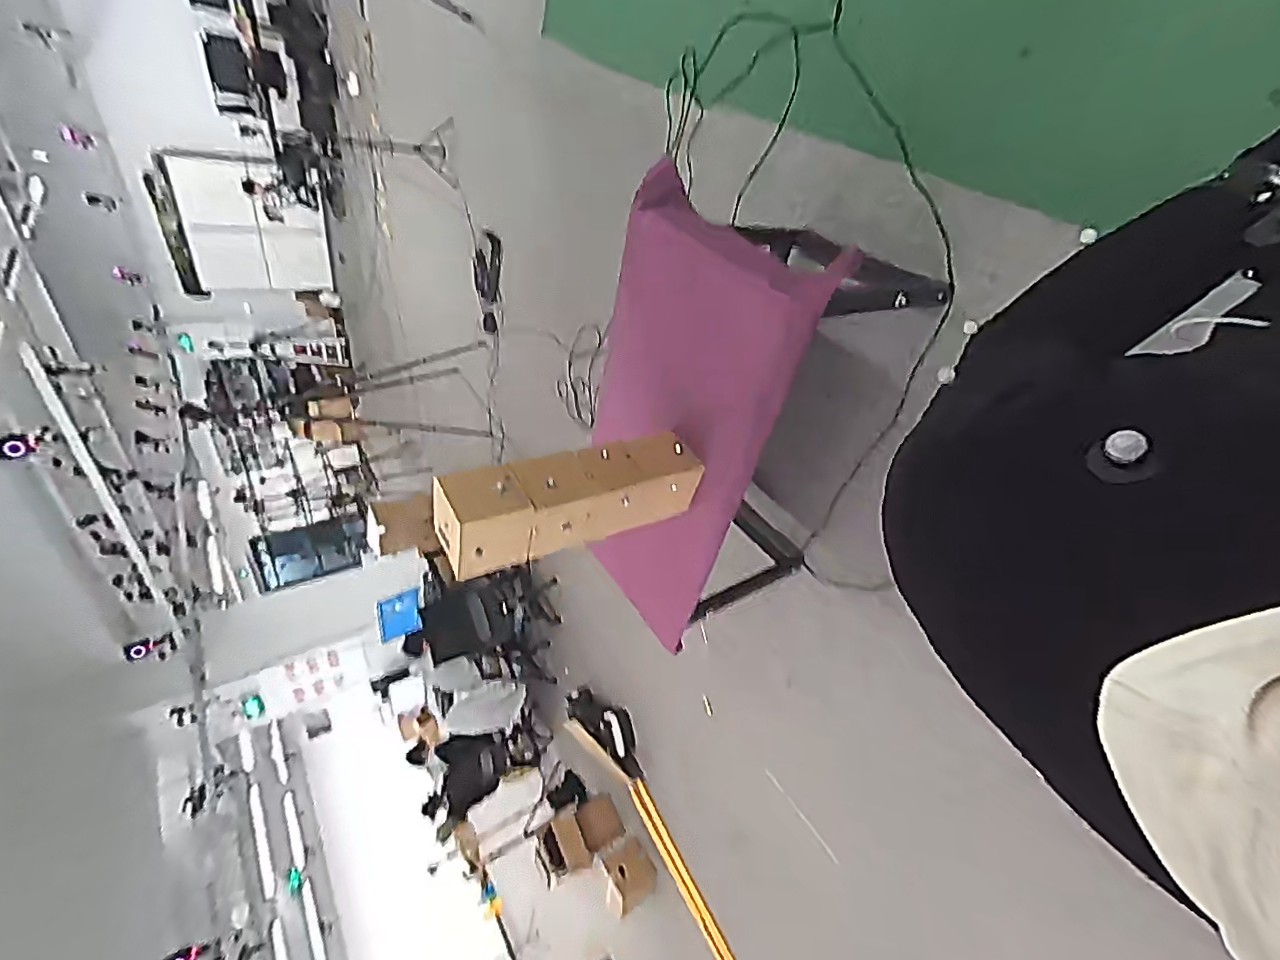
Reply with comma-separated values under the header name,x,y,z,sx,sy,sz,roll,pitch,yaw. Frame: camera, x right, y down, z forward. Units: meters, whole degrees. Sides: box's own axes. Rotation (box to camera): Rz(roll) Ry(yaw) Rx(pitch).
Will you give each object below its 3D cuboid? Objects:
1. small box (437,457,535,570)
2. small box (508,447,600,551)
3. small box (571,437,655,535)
name,x,y,z,sx,sy,sz,roll,pitch,yaw
small box,-0.352,0.072,1.231,0.168,0.176,0.179,50,138,34
small box,-0.218,0.039,1.320,0.179,0.176,0.168,51,139,32
small box,-0.082,0.008,1.405,0.168,0.176,0.179,51,140,32
